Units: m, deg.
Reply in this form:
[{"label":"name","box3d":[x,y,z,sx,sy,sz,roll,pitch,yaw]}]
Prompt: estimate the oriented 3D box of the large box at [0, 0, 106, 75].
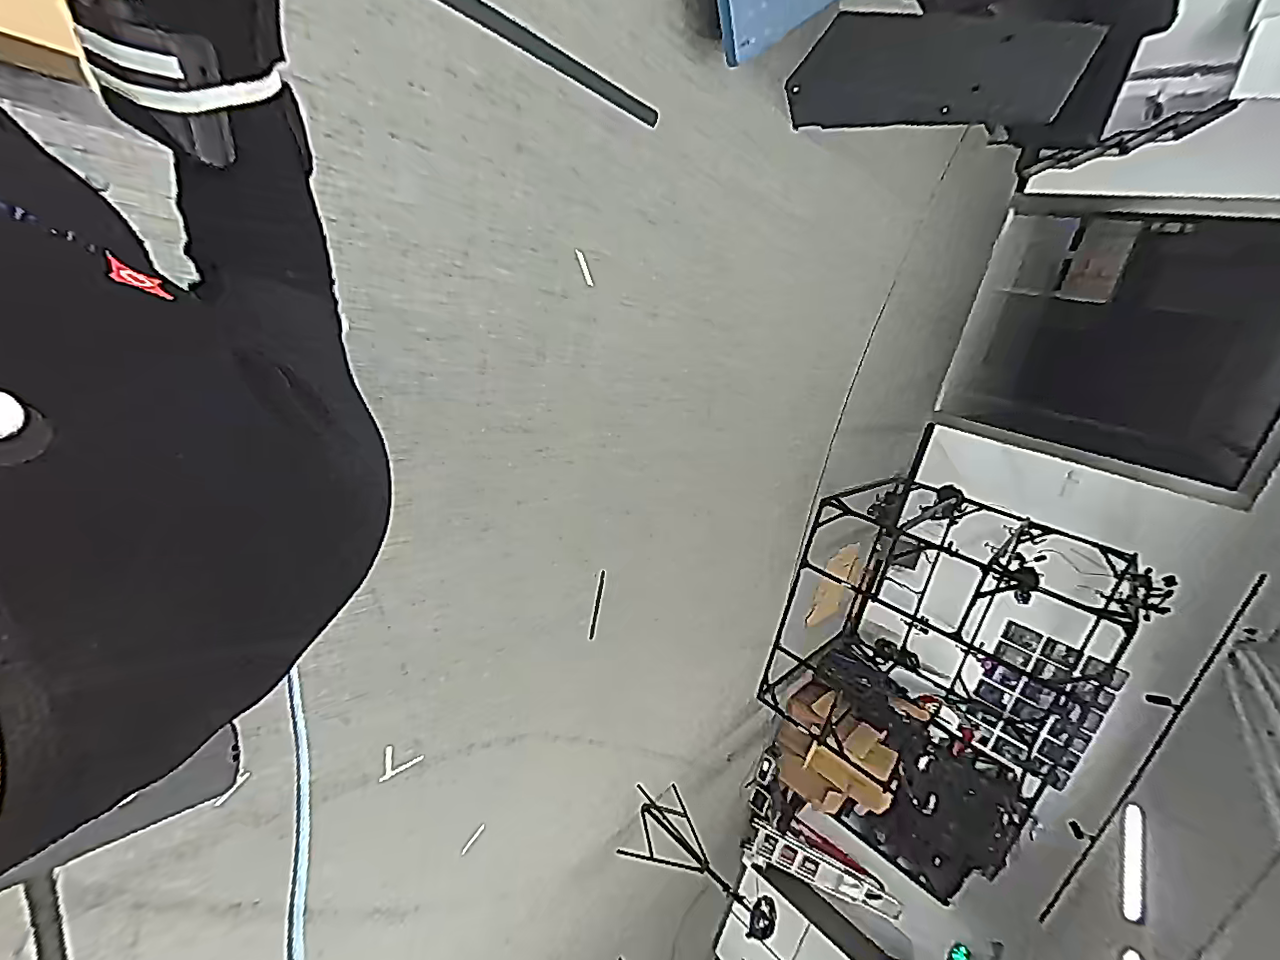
[{"label":"large box","box3d":[-0.965,-0.756,0.650,0.408,0.320,0.320,-11,120,-49]}]
